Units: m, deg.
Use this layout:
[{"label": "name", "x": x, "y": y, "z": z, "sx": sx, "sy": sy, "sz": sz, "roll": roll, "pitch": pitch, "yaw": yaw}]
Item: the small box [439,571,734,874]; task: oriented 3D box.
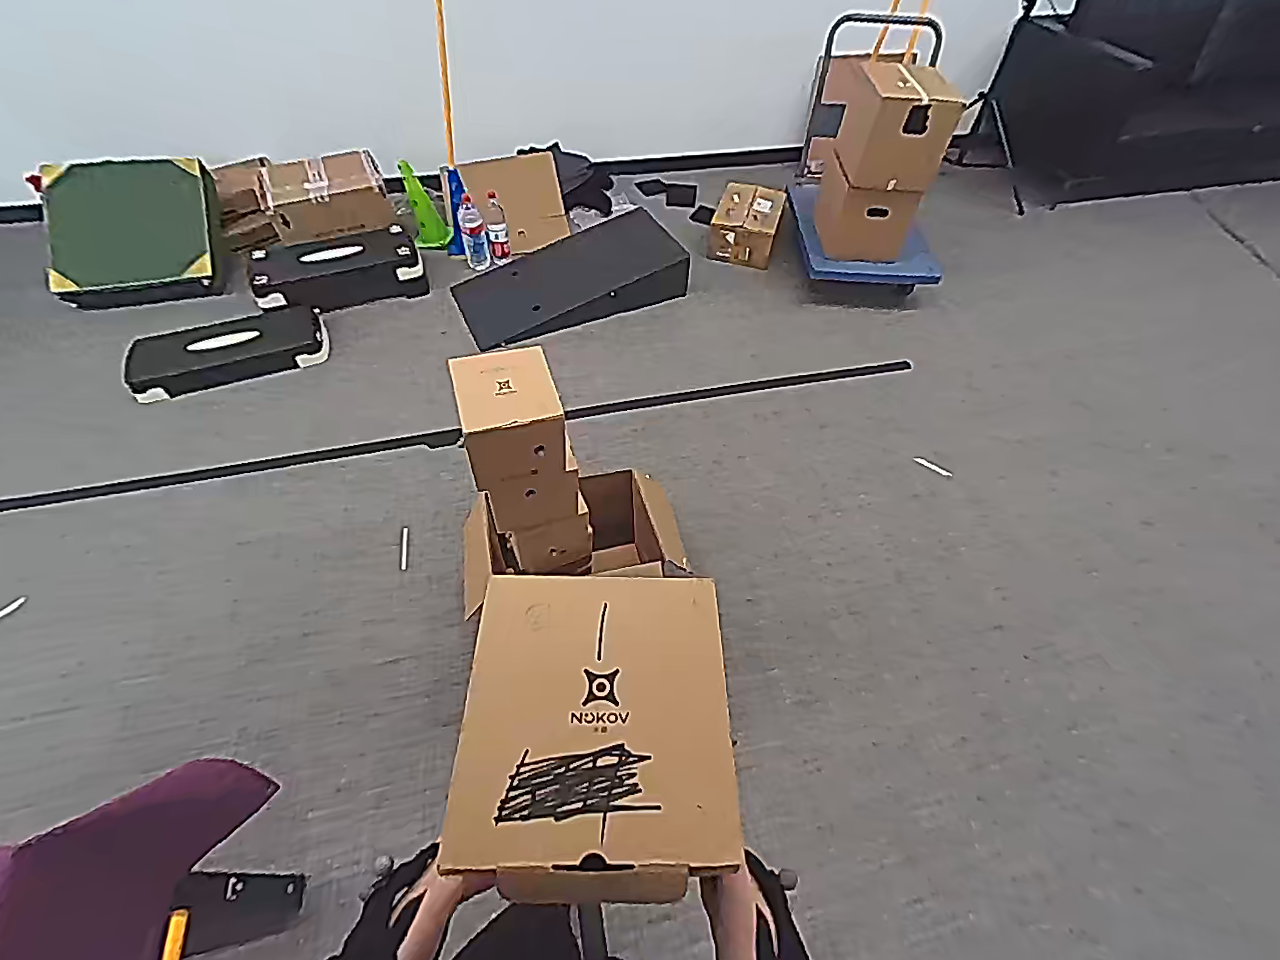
[{"label": "small box", "x": -0.031, "y": 0.186, "z": 0.406, "sx": 0.168, "sy": 0.176, "sz": 0.179, "roll": 2, "pitch": 52, "yaw": -3}]

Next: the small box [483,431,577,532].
[{"label": "small box", "x": -0.233, "y": -0.012, "z": 1.113, "sx": 0.179, "sy": 0.176, "sz": 0.168, "roll": -13, "pitch": 58, "yaw": -16}]

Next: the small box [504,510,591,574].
[{"label": "small box", "x": -0.241, "y": 0.156, "z": 1.397, "sx": 0.179, "sy": 0.176, "sz": 0.168, "roll": -26, "pitch": 61, "yaw": -24}]

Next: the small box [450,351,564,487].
[{"label": "small box", "x": -0.234, "y": -0.103, "z": 0.977, "sx": 0.168, "sy": 0.176, "sz": 0.179, "roll": -12, "pitch": 57, "yaw": -16}]
